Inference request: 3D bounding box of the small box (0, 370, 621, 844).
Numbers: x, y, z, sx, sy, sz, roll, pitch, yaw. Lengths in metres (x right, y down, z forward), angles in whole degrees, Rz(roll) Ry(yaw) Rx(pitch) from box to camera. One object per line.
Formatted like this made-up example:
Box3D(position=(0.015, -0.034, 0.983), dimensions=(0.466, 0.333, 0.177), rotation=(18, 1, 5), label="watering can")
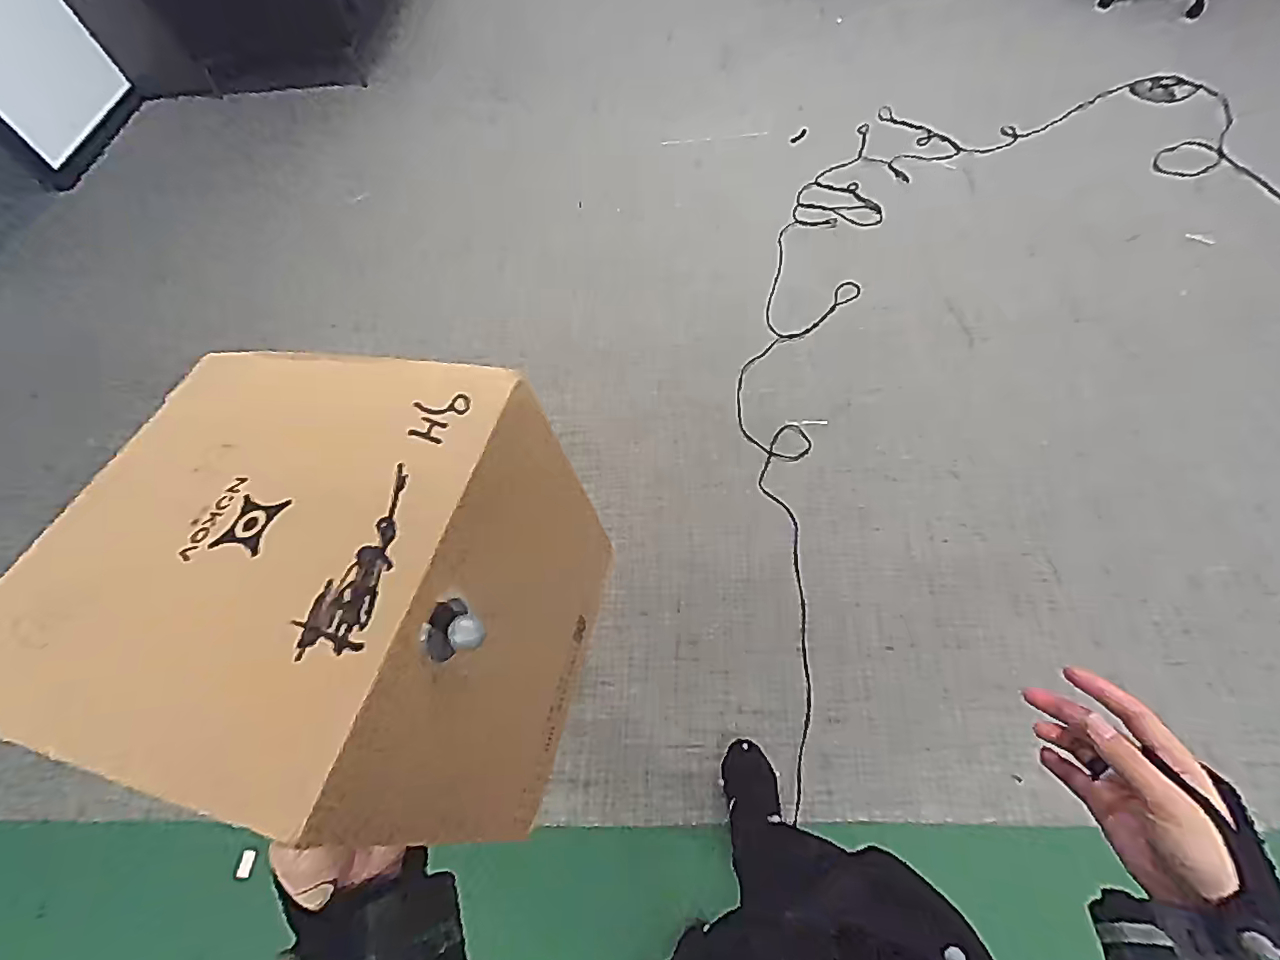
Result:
Box3D(position=(-0.126, 0.065, 0.273), dimensions=(0.179, 0.176, 0.168), rotation=(6, 60, 16), label="small box")
